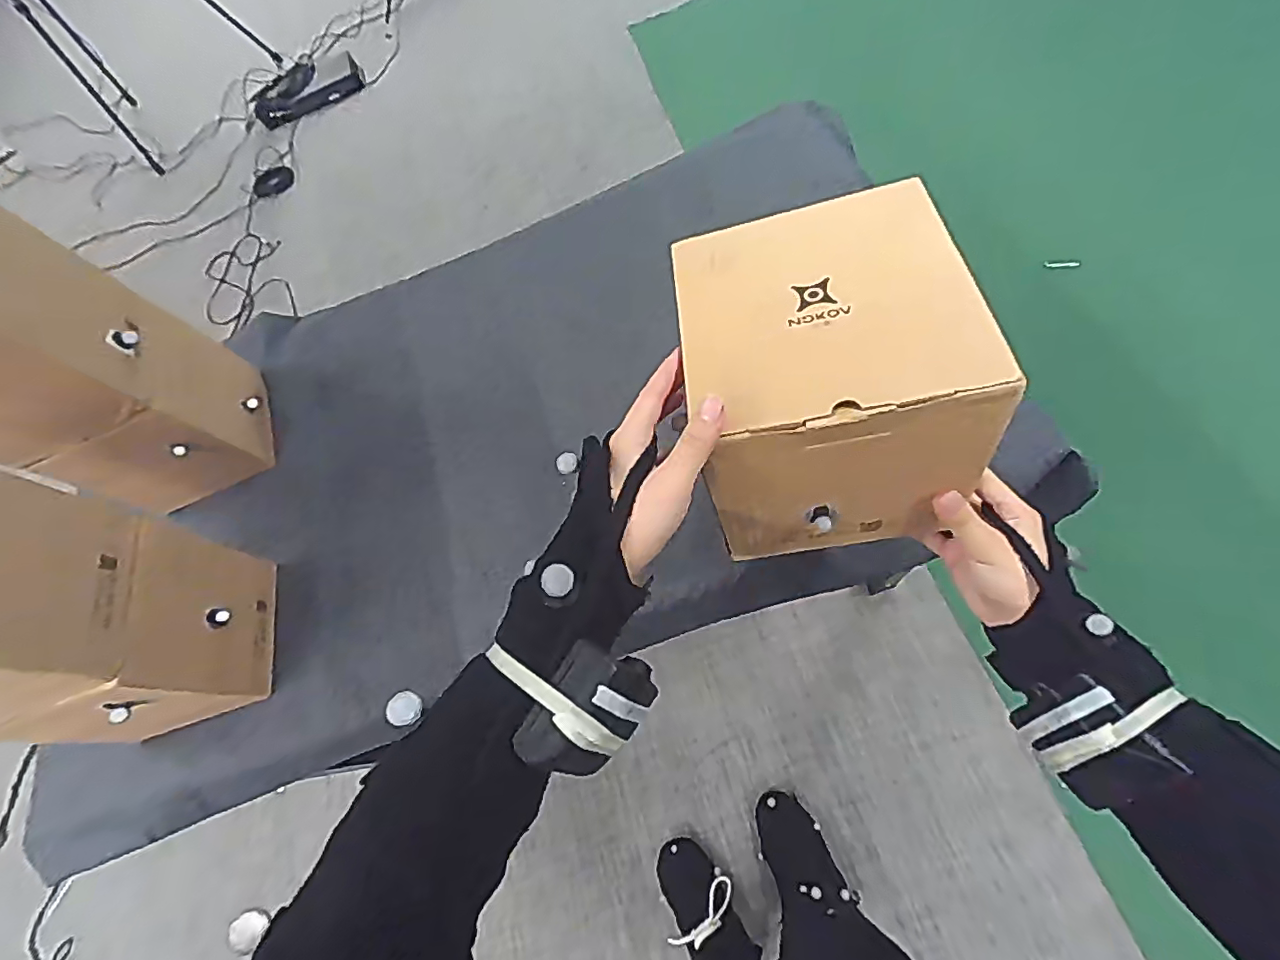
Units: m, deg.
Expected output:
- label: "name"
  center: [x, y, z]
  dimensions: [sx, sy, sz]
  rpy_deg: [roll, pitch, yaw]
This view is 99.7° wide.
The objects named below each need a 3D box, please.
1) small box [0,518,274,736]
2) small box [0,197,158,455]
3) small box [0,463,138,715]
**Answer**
- label: "small box"
  center: [-0.534, 0.163, 0.581]
  dimensions: [0.179, 0.176, 0.168]
  rpy_deg: [-19, 63, 4]
- label: "small box"
  center: [-0.658, -0.150, 0.559]
  dimensions: [0.179, 0.176, 0.168]
  rpy_deg: [-24, 68, 1]
- label: "small box"
  center: [-0.572, 0.097, 0.436]
  dimensions: [0.179, 0.176, 0.168]
  rpy_deg: [-23, 64, 3]
